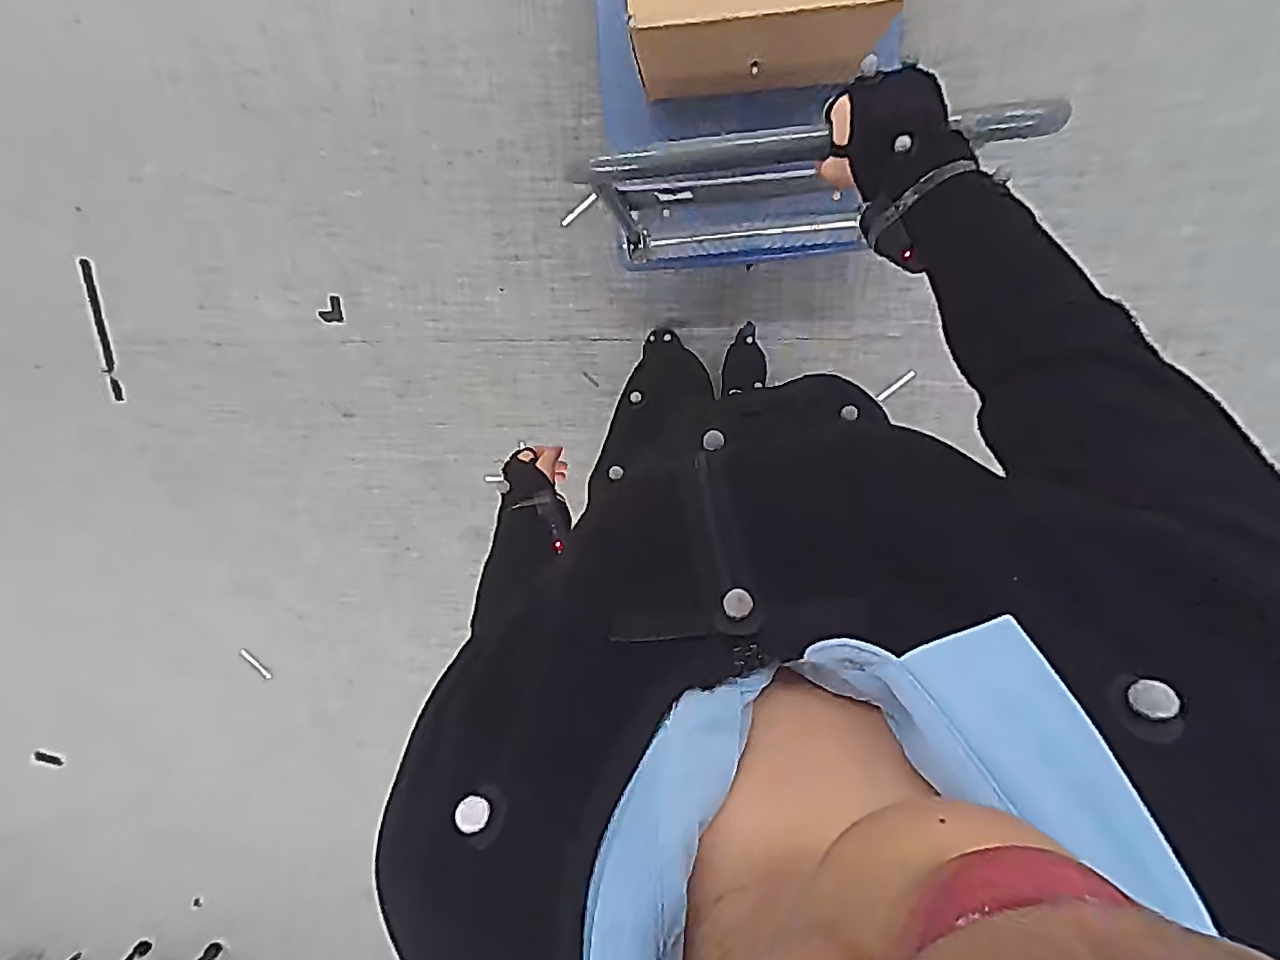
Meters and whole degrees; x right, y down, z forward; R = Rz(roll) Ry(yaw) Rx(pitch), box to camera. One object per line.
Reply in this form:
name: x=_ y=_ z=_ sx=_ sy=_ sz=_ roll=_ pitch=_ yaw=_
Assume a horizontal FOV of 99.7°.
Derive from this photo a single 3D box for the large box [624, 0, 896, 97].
large box: x=0.186 y=-0.873 z=0.881 sx=0.408 sy=0.320 sz=0.320 roll=-1 pitch=107 yaw=8
